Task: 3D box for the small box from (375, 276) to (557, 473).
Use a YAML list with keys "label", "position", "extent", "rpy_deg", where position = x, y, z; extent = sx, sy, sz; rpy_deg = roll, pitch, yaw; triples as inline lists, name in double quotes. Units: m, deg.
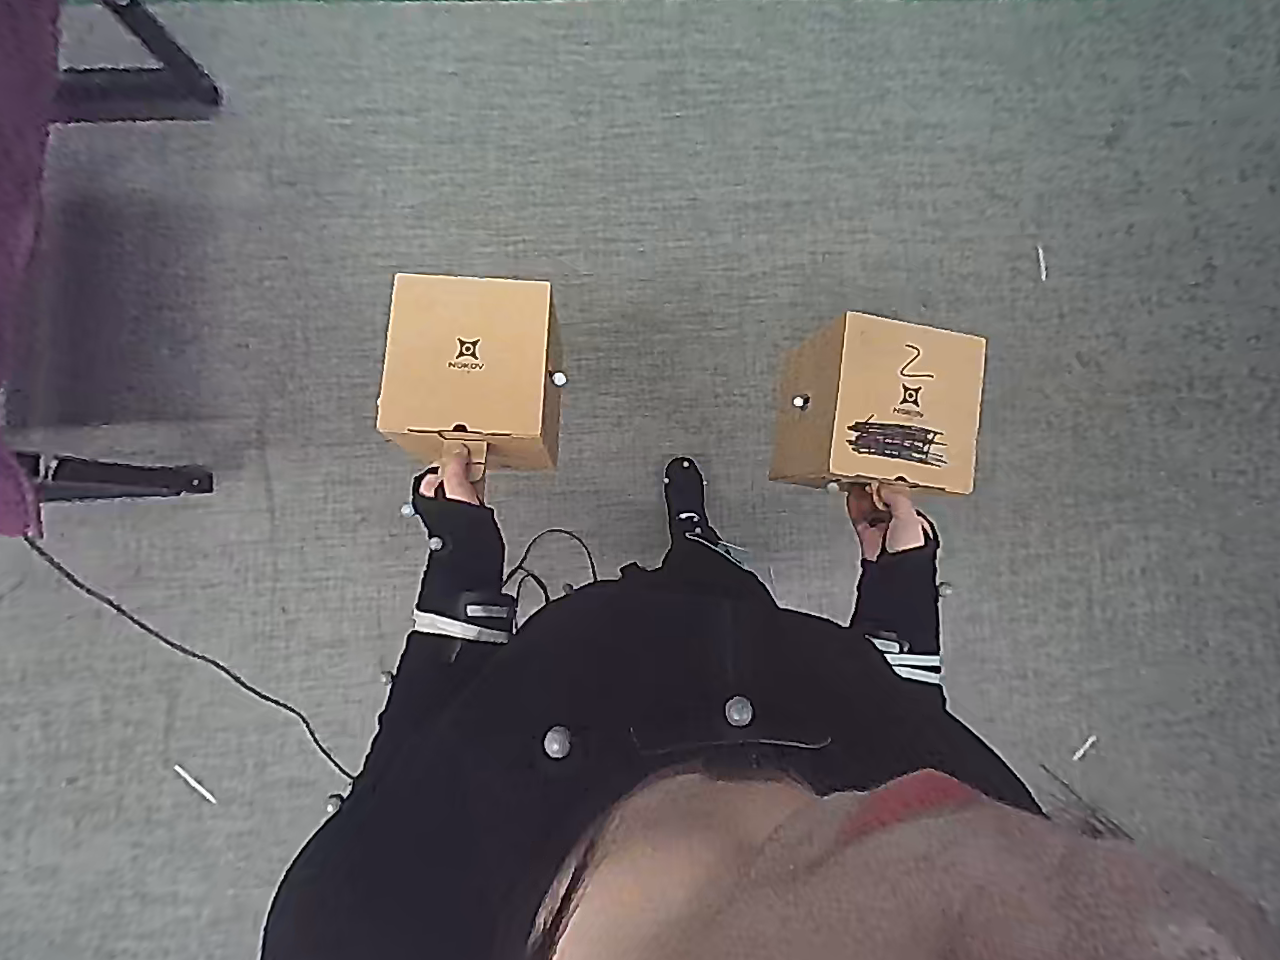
- label: "small box"
  position: [-0.188, -0.113, 0.637]
  extent: [0.168, 0.176, 0.179]
  rpy_deg: [1, 80, -4]
